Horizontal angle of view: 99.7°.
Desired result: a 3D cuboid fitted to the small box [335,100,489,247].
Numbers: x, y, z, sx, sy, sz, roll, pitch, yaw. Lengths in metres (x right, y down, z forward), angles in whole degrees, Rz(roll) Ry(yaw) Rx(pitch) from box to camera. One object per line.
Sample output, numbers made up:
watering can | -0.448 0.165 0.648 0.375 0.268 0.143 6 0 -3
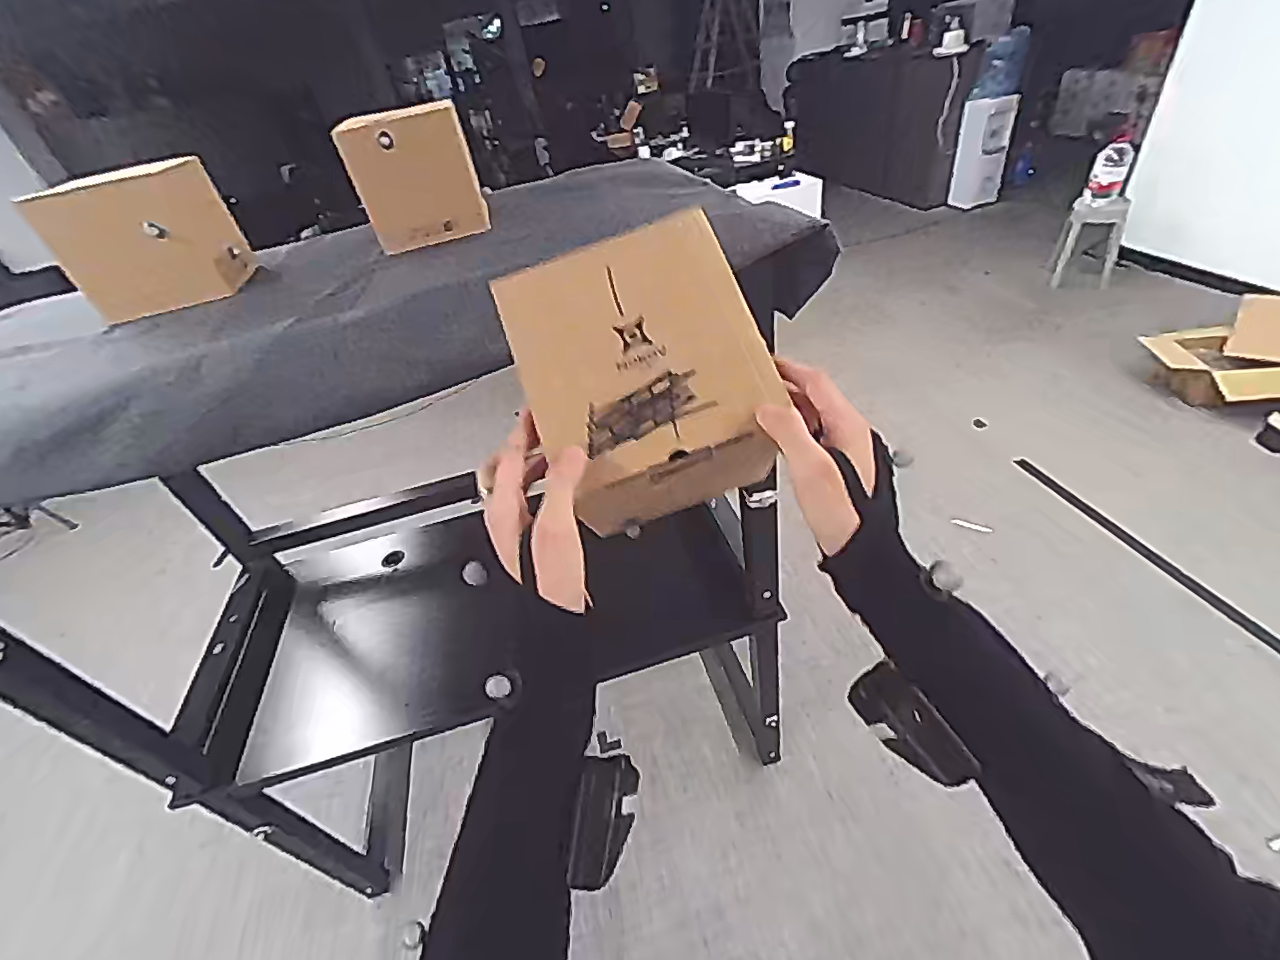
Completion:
small box | -0.347 -0.486 0.860 0.168 0.176 0.179 -17 39 -5

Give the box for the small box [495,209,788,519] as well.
small box | 0.003 -0.076 0.452 0.168 0.176 0.179 -20 74 -1
